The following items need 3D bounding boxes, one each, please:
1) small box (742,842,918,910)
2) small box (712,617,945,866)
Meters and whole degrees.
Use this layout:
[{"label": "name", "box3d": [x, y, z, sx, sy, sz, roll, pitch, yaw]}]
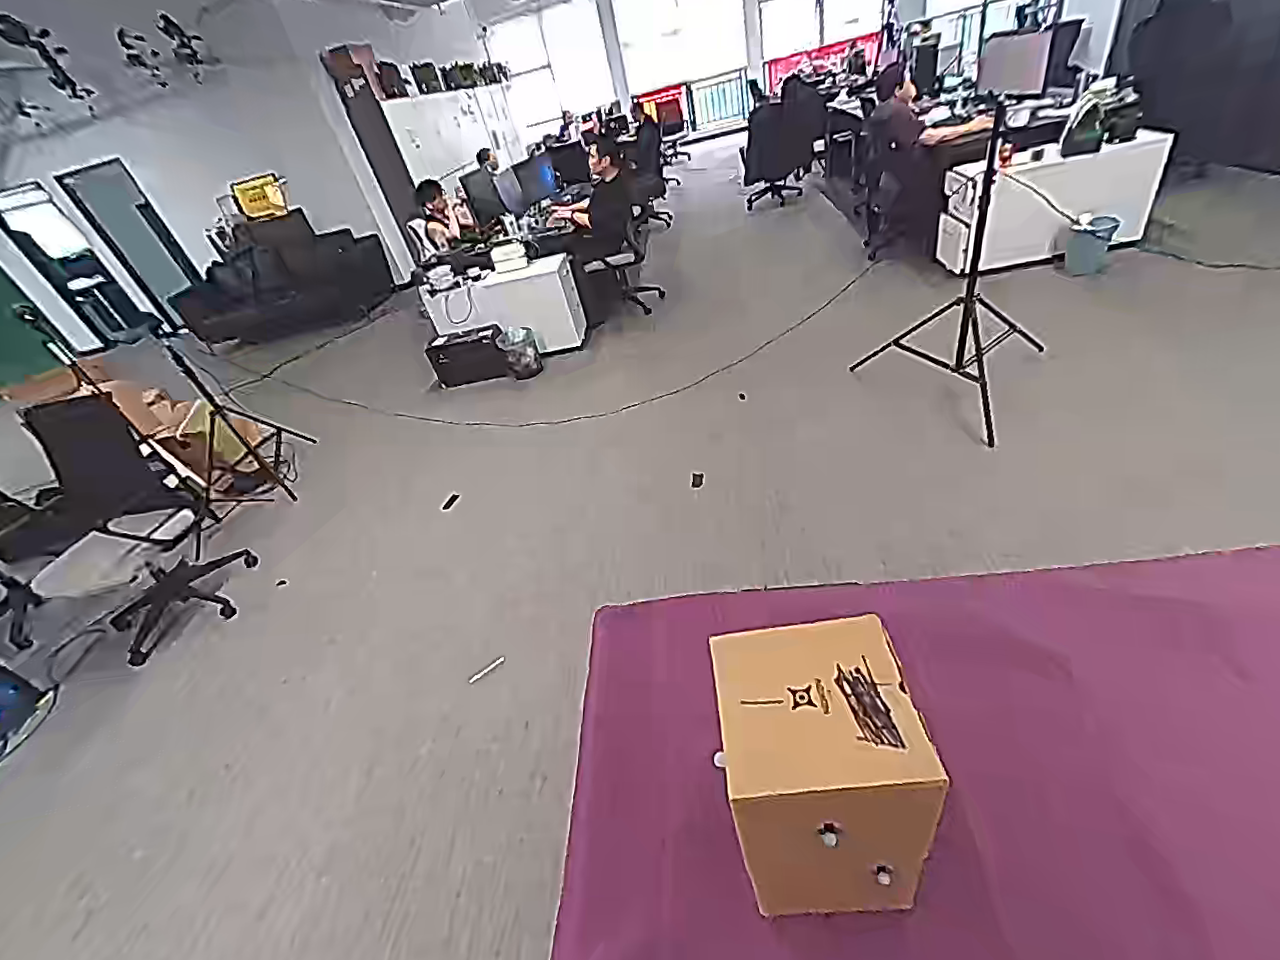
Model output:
[{"label": "small box", "box3d": [0.210, 0.392, 0.651, 0.179, 0.176, 0.168, -9, 36, 7]}, {"label": "small box", "box3d": [0.176, 0.266, 0.550, 0.179, 0.176, 0.168, -10, 36, 8]}]
